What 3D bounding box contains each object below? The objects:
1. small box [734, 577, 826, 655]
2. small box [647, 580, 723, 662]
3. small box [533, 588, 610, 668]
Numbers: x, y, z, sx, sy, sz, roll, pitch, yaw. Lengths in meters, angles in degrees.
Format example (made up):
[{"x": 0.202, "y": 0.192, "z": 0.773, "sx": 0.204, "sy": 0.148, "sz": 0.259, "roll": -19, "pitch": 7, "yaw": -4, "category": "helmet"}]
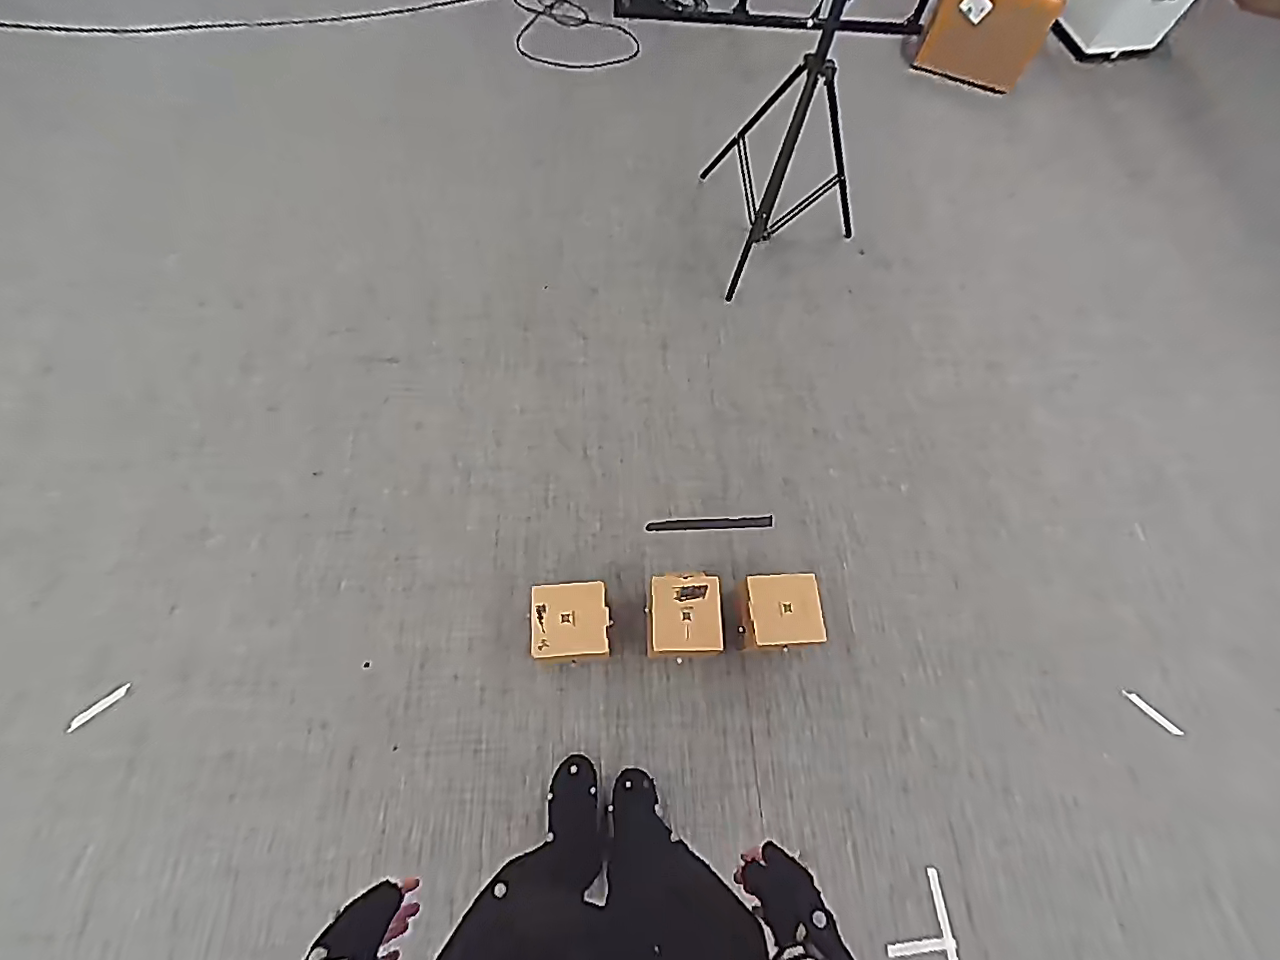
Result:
[{"x": 0.343, "y": 0.348, "z": 1.369, "sx": 0.179, "sy": 0.176, "sz": 0.168, "roll": -2, "pitch": 68, "yaw": -6, "category": "small box"}, {"x": 0.105, "y": 0.355, "z": 1.346, "sx": 0.168, "sy": 0.176, "sz": 0.179, "roll": 1, "pitch": 67, "yaw": -4, "category": "small box"}, {"x": -0.167, "y": 0.366, "z": 1.323, "sx": 0.179, "sy": 0.176, "sz": 0.168, "roll": -2, "pitch": 67, "yaw": -6, "category": "small box"}]
